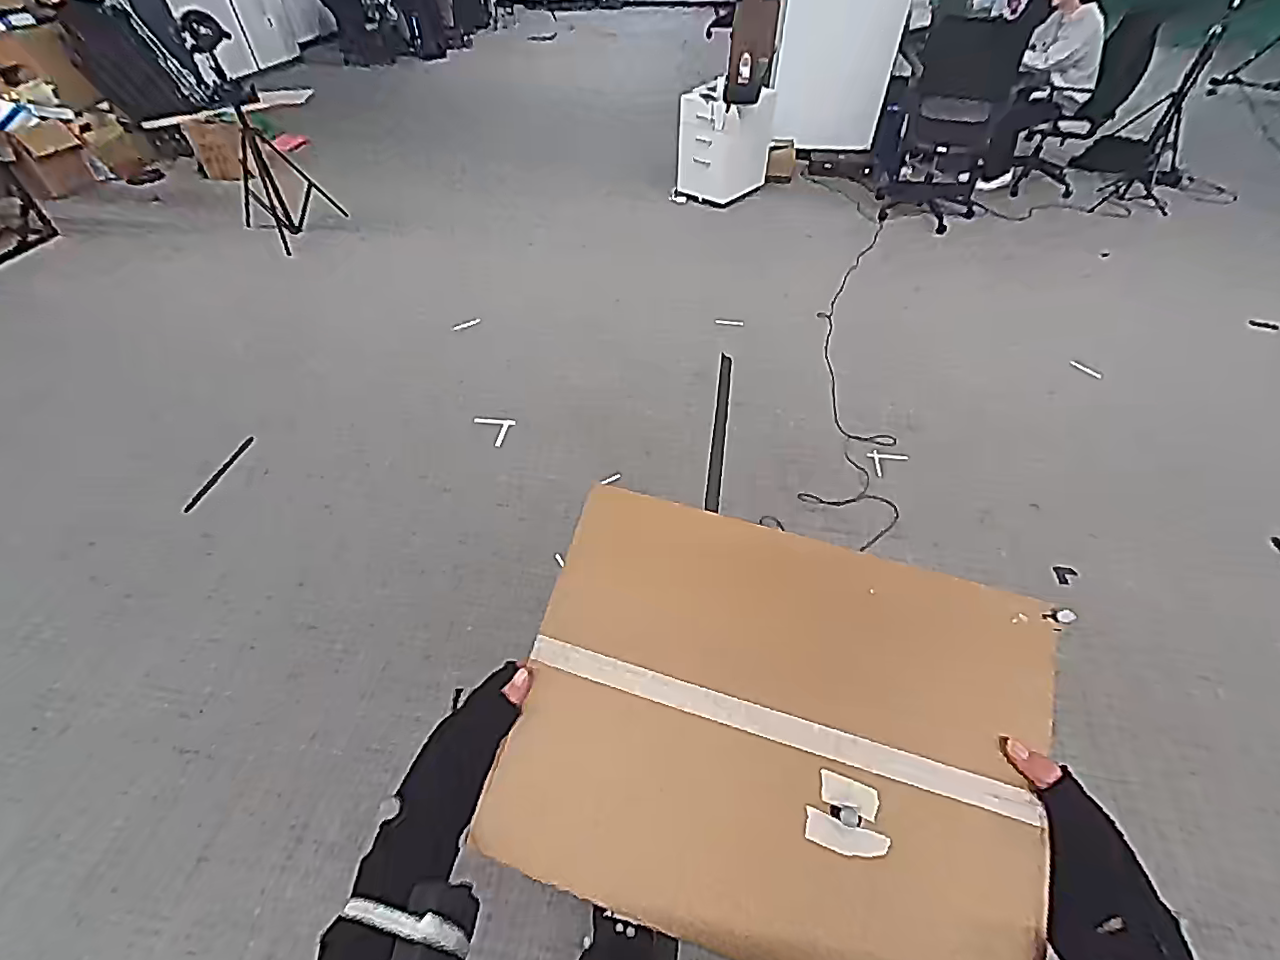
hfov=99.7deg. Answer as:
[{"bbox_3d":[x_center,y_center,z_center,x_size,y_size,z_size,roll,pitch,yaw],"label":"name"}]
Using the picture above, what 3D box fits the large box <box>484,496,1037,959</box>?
[{"bbox_3d":[0.114,0.248,0.579,0.408,0.320,0.320,14,72,9],"label":"large box"}]
